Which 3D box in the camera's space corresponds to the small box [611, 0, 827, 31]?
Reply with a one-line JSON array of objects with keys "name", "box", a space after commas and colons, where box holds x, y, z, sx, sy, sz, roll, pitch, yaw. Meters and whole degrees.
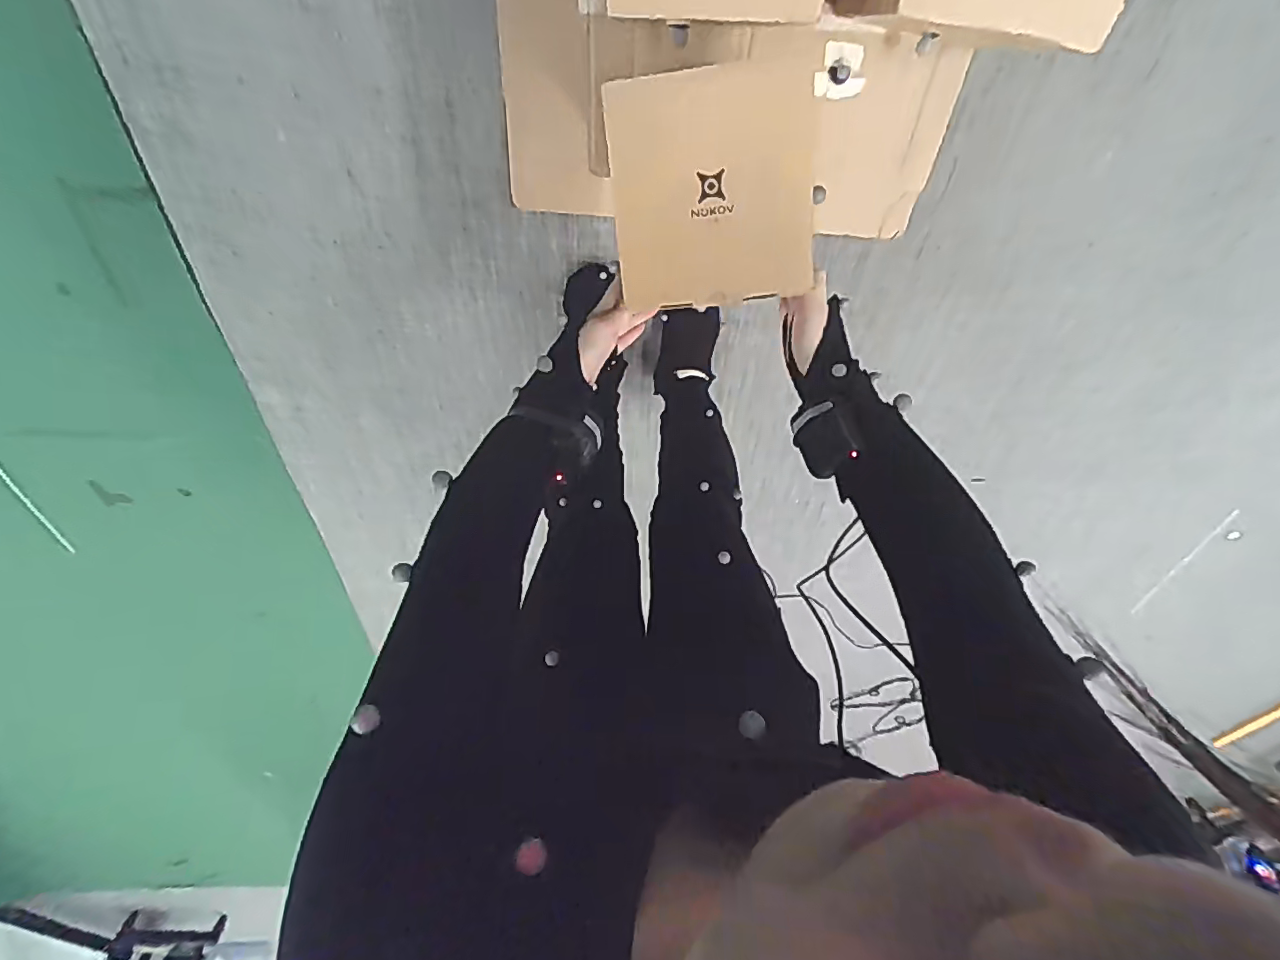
[{"name": "small box", "box": [0.057, -0.466, 0.418, 0.168, 0.176, 0.179, 0, 130, -2]}]

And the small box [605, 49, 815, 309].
[{"name": "small box", "box": [0.066, -0.267, 0.519, 0.168, 0.176, 0.179, -5, 111, 7]}]

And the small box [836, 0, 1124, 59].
[{"name": "small box", "box": [0.288, -0.459, 0.431, 0.179, 0.176, 0.168, 5, 130, -7]}]

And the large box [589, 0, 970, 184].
[{"name": "large box", "box": [0.140, -0.566, 0.655, 0.408, 0.320, 0.320, 0, 131, -4]}]
